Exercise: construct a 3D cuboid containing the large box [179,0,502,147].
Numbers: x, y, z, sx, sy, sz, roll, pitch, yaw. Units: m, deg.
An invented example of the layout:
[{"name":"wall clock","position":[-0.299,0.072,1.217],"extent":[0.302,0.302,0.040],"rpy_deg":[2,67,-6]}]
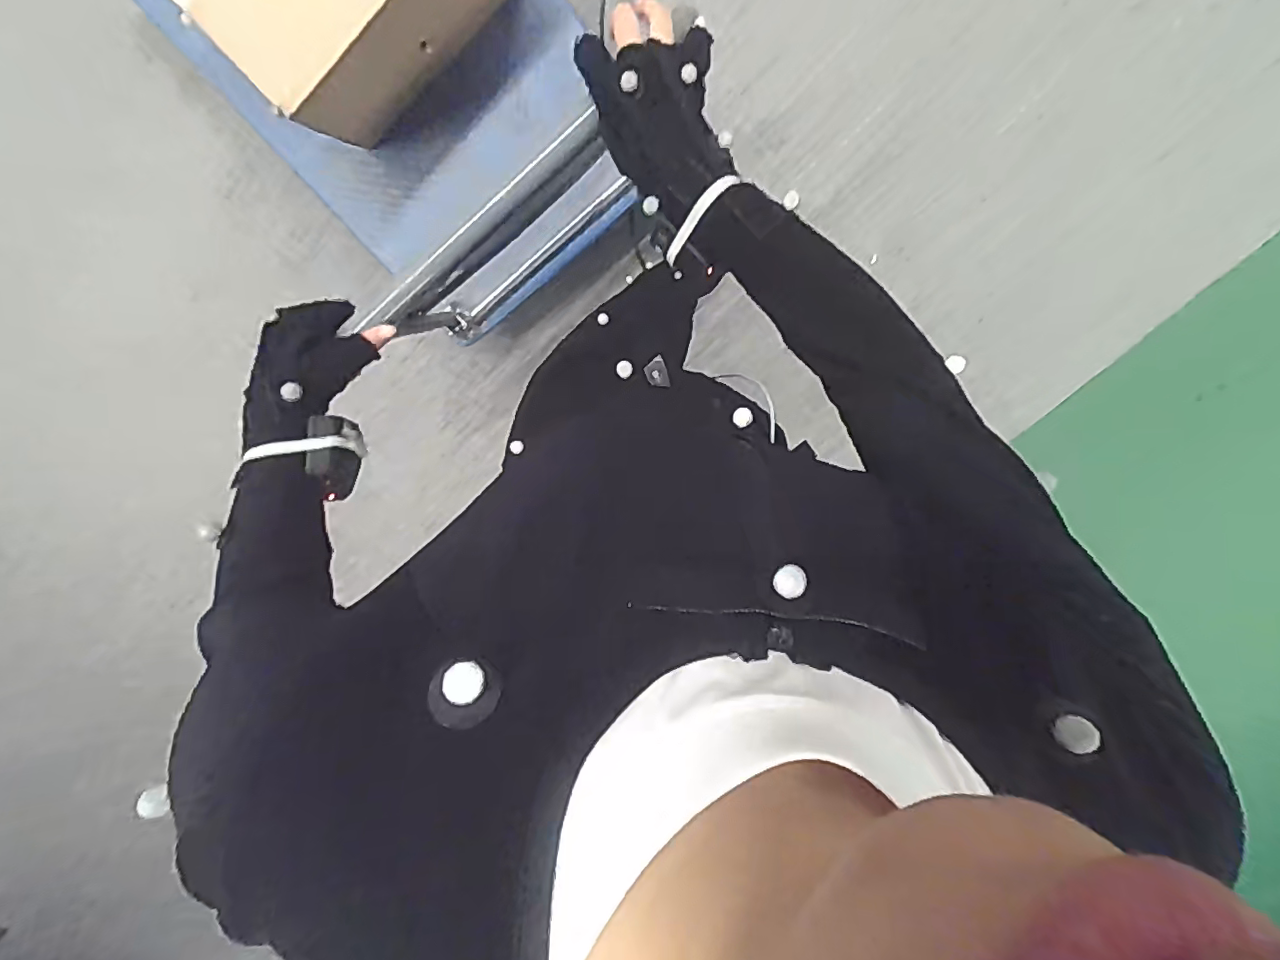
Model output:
[{"name":"large box","position":[-0.433,-0.782,0.784],"extent":[0.408,0.320,0.320],"rpy_deg":[-39,111,13]}]
